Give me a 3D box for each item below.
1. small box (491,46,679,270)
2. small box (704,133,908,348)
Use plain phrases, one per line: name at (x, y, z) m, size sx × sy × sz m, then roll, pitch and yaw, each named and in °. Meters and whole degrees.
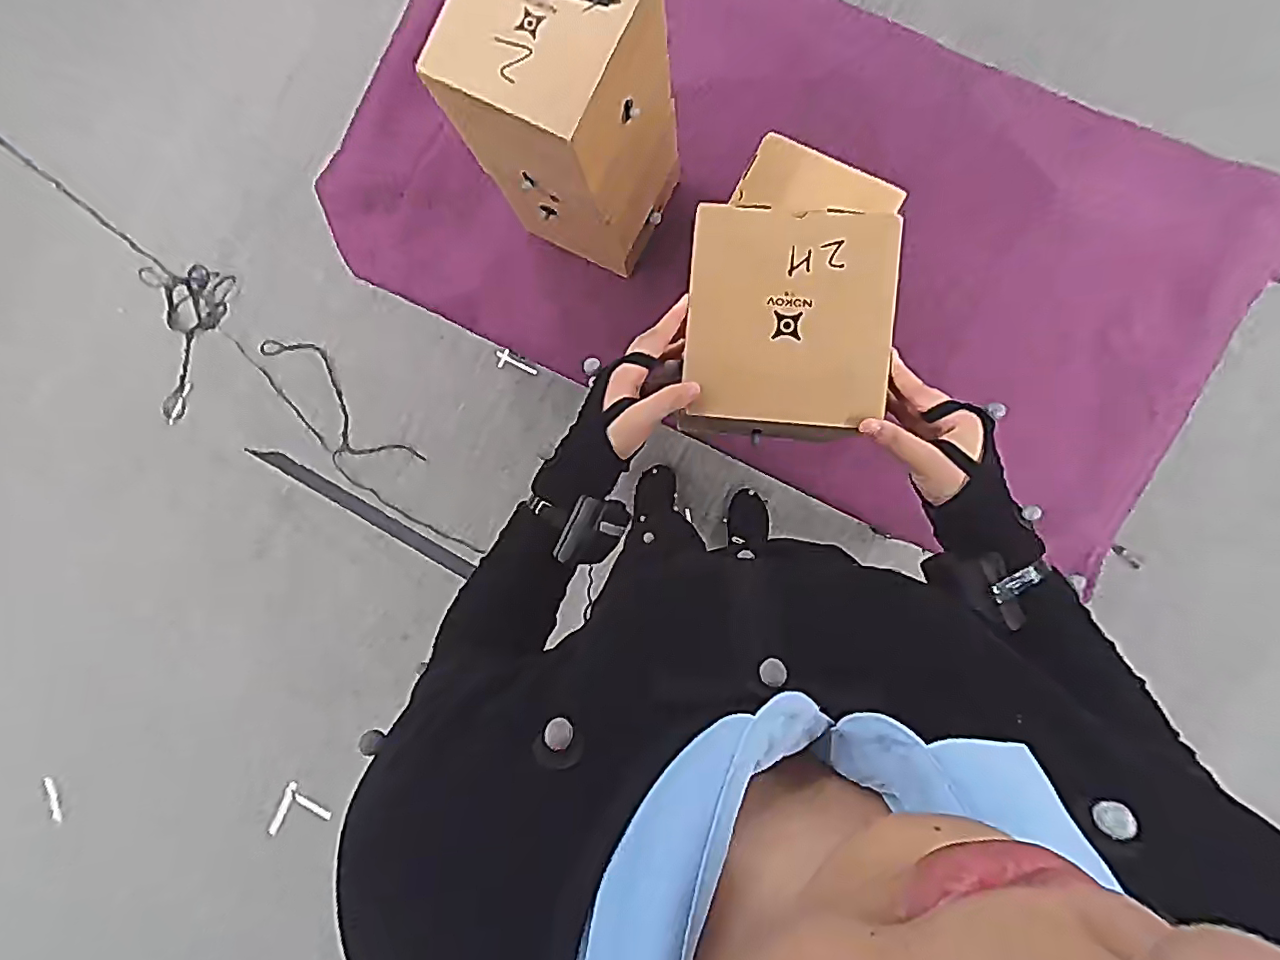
small box at (-0.060, -0.410, 0.721) m, size 0.179 × 0.176 × 0.168 m, roll 27°, pitch 92°, yaw 5°
small box at (0.196, -0.287, 0.693) m, size 0.179 × 0.176 × 0.168 m, roll 28°, pitch 92°, yaw 7°
